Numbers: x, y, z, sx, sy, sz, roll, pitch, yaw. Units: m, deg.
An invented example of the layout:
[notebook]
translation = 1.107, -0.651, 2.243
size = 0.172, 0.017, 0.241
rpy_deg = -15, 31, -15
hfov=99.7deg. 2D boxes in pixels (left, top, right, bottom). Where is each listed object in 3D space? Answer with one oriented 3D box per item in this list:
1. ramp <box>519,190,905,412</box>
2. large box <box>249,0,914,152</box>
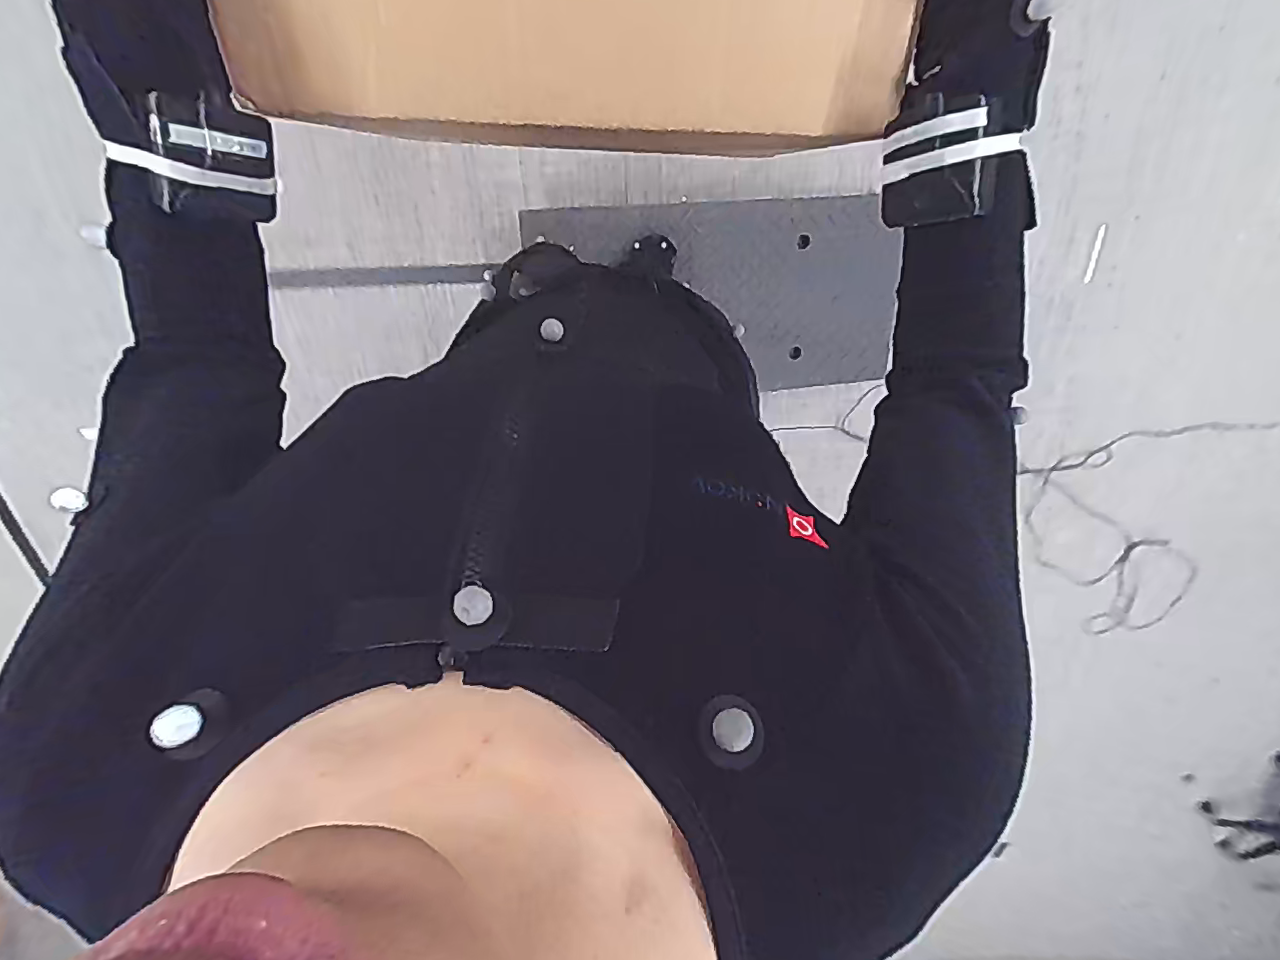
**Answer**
[ramp]
translation = 0.217, -0.470, 1.427
size = 0.991, 0.206, 0.509
rpy_deg = -5, 113, 1
[large box]
translation = -0.035, -0.440, 0.406
size = 0.408, 0.320, 0.320
rpy_deg = 1, 120, -3
